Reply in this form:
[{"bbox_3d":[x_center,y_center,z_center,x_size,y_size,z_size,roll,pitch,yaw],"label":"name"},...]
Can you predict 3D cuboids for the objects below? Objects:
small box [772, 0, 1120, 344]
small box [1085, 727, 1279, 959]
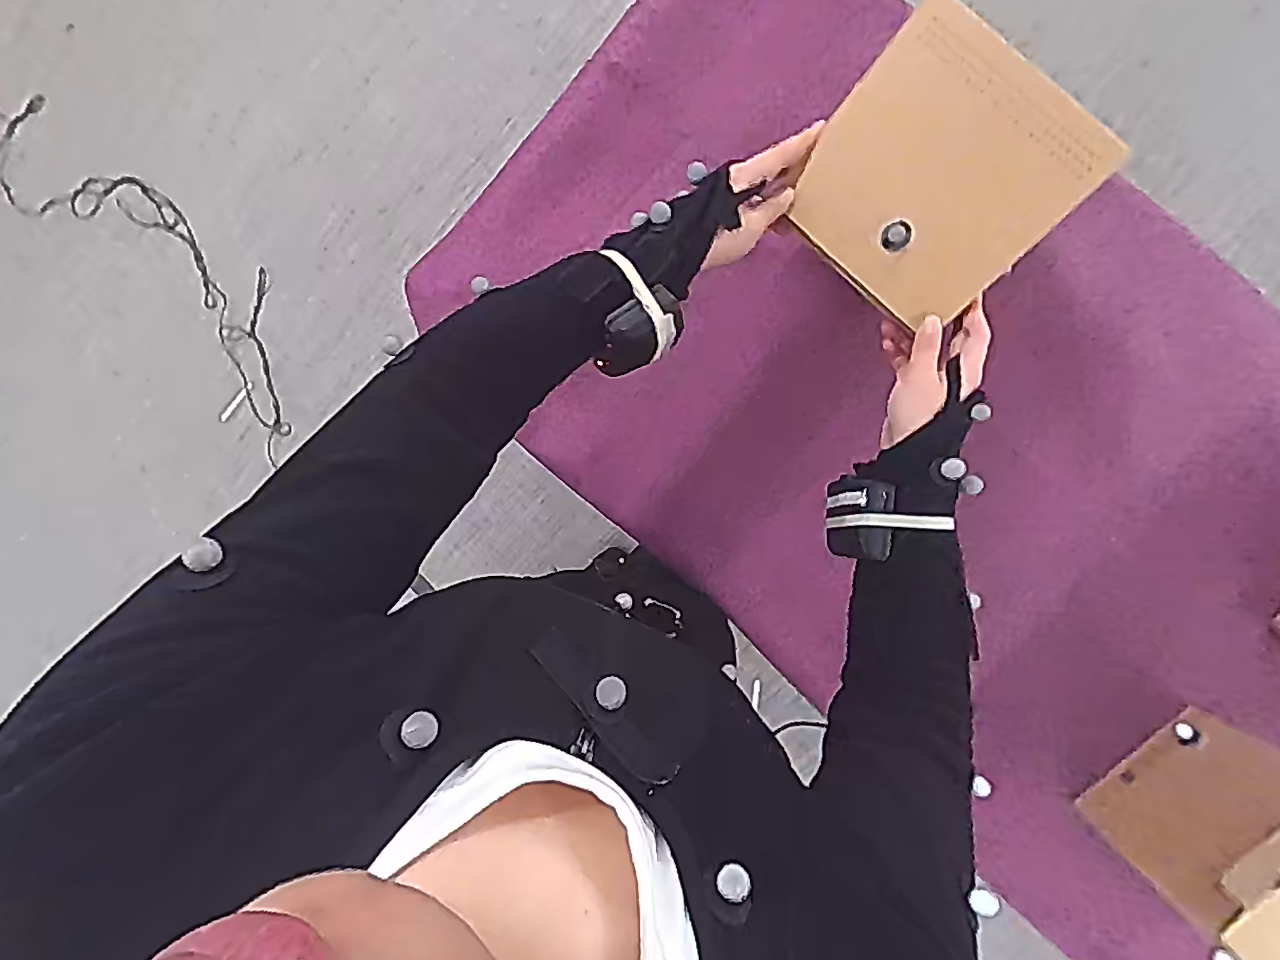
[{"bbox_3d":[0.244,-0.244,0.465,0.179,0.168,0.176,44,116,2],"label":"small box"},{"bbox_3d":[0.580,0.361,0.496,0.168,0.176,0.179,-45,87,5],"label":"small box"}]
